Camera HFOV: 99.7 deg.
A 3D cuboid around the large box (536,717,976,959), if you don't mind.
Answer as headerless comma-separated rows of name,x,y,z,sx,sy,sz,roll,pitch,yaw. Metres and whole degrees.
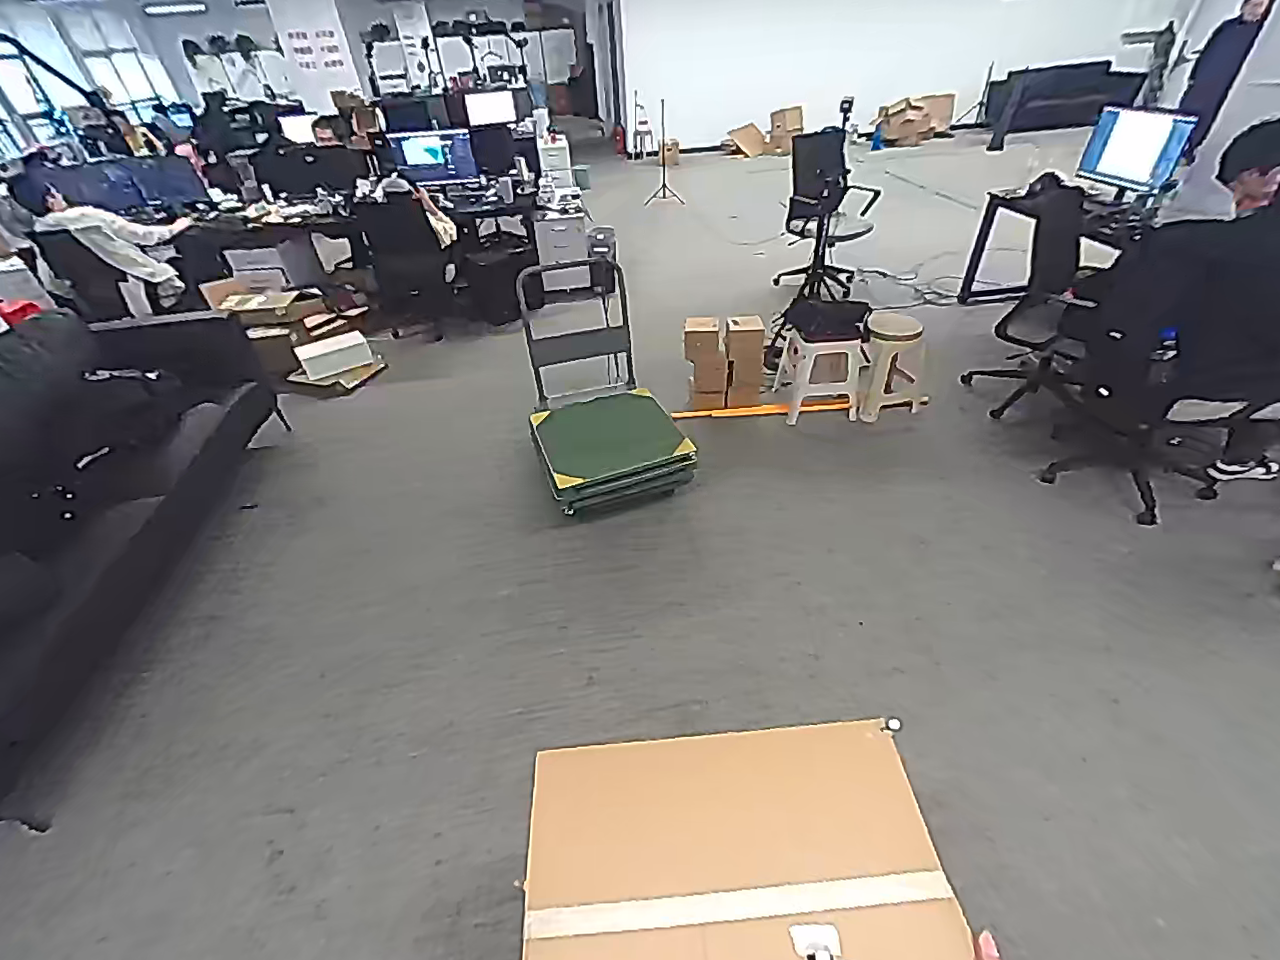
large box,0.106,0.512,0.624,0.408,0.320,0.320,-6,46,0
